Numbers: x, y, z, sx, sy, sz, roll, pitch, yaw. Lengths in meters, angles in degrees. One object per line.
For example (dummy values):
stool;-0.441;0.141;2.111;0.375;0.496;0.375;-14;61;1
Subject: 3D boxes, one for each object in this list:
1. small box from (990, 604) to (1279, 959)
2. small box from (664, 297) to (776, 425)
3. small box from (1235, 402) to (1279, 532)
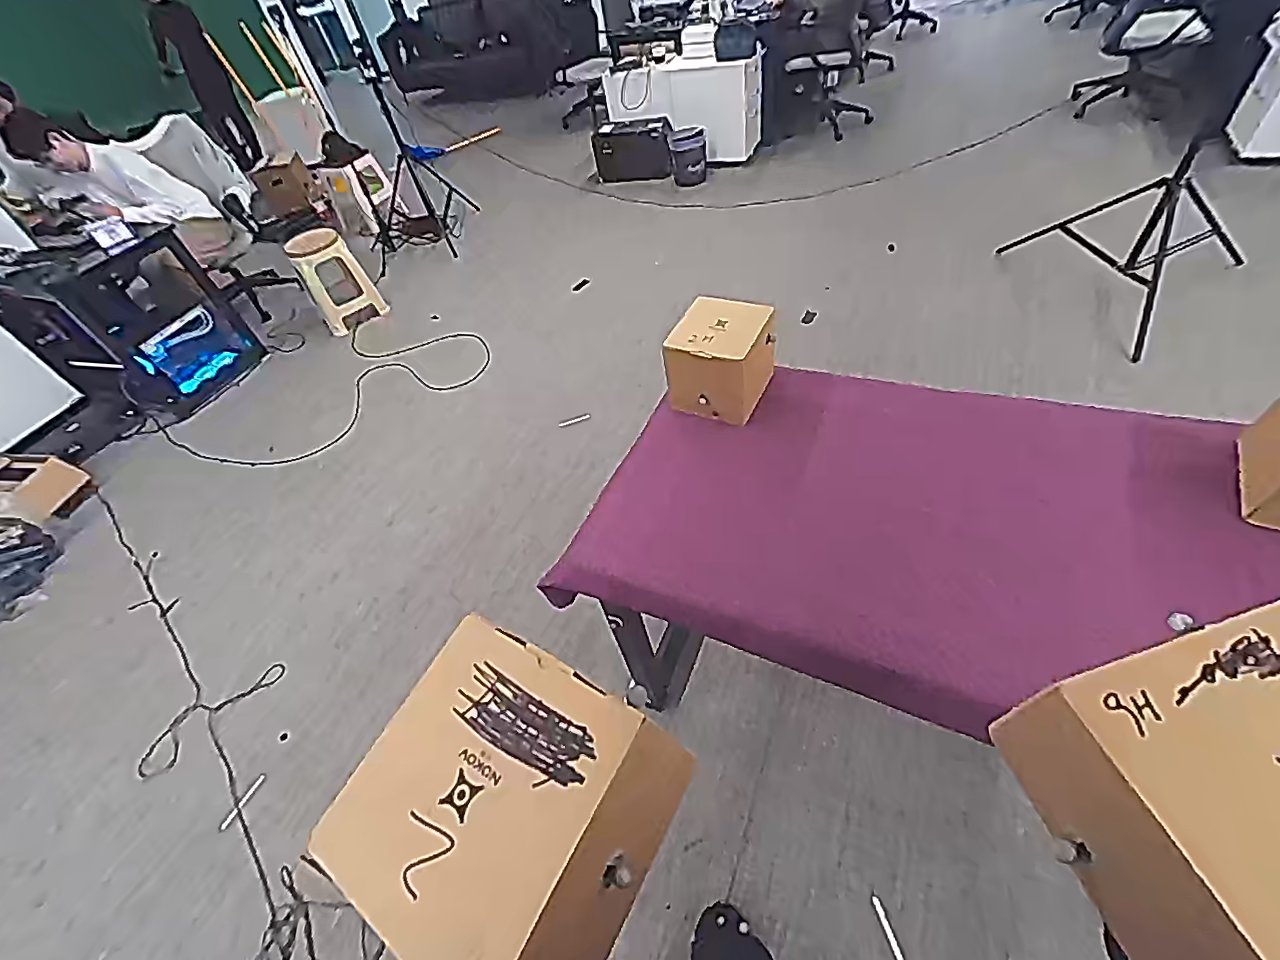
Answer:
small box;0.371;0.205;0.346;0.168;0.176;0.179;-21;54;3
small box;0.166;-0.242;1.099;0.168;0.176;0.179;17;57;25
small box;0.983;-0.026;0.747;0.168;0.176;0.179;18;59;25
